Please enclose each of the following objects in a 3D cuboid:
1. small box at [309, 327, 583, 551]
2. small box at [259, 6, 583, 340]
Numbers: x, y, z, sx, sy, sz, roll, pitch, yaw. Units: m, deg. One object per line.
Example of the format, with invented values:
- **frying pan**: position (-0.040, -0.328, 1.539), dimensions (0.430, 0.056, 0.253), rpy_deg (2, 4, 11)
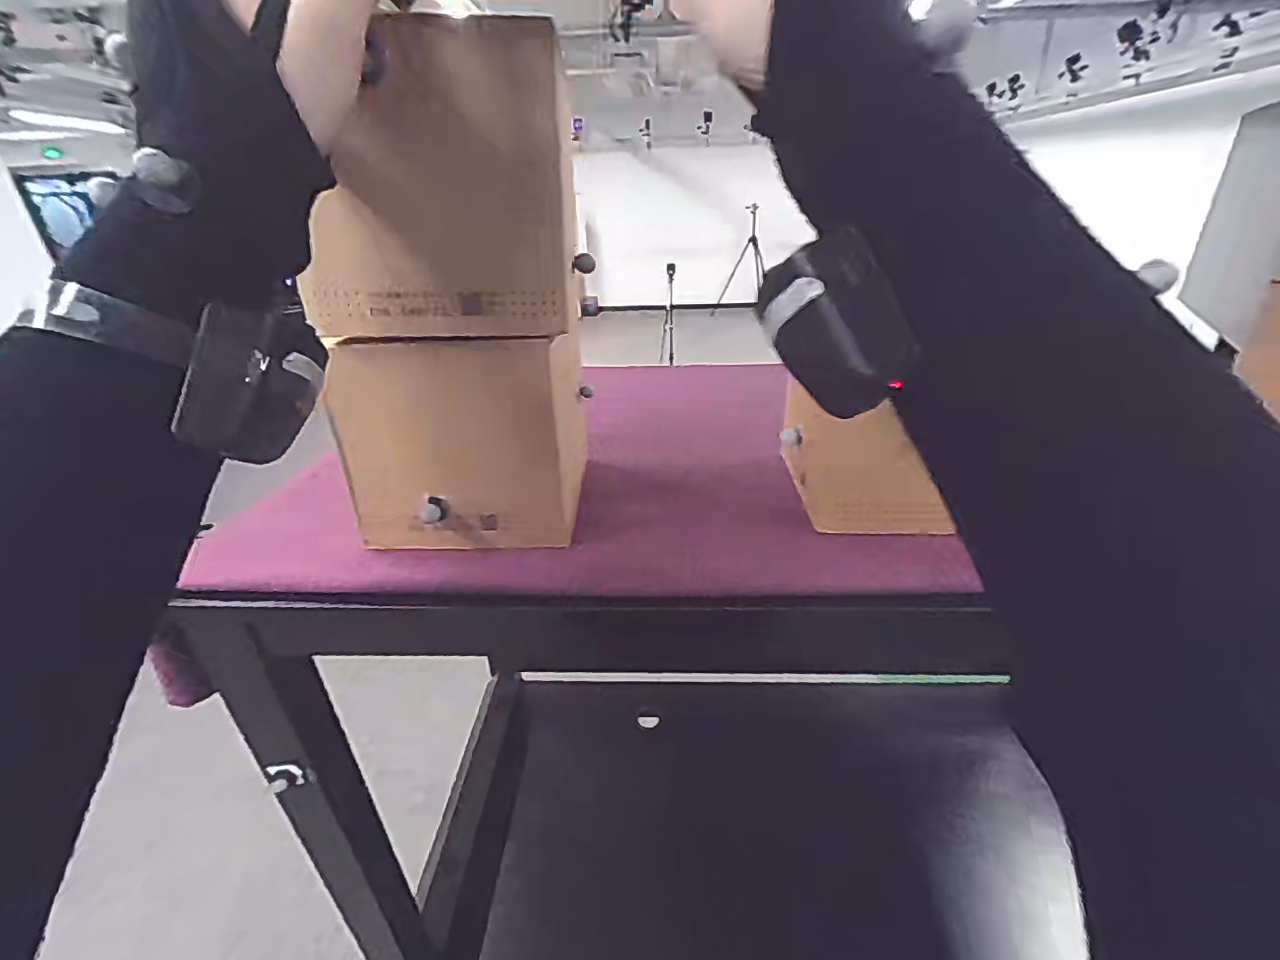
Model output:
- **small box**: position (-0.142, -0.054, 0.473), dimensions (0.168, 0.176, 0.179), rpy_deg (-1, 26, 1)
- **small box**: position (-0.128, -0.202, 0.393), dimensions (0.168, 0.176, 0.179), rpy_deg (-2, 25, -6)
